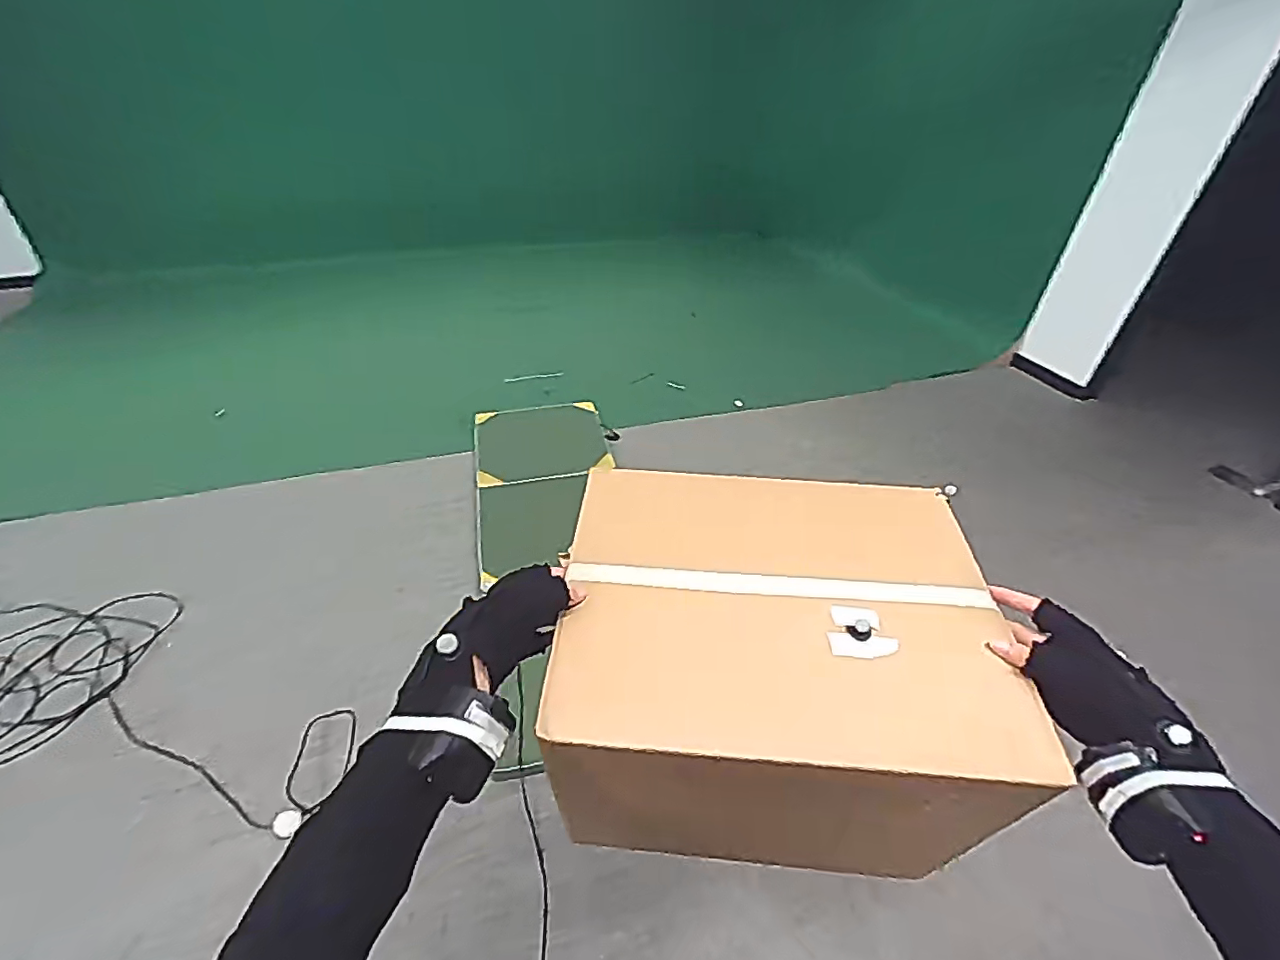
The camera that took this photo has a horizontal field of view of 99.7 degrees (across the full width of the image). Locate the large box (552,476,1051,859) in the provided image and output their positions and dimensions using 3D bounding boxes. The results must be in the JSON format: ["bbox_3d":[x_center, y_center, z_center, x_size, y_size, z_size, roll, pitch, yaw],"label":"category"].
[{"bbox_3d":[0.129,0.216,0.633,0.408,0.320,0.320,3,44,2],"label":"large box"}]
